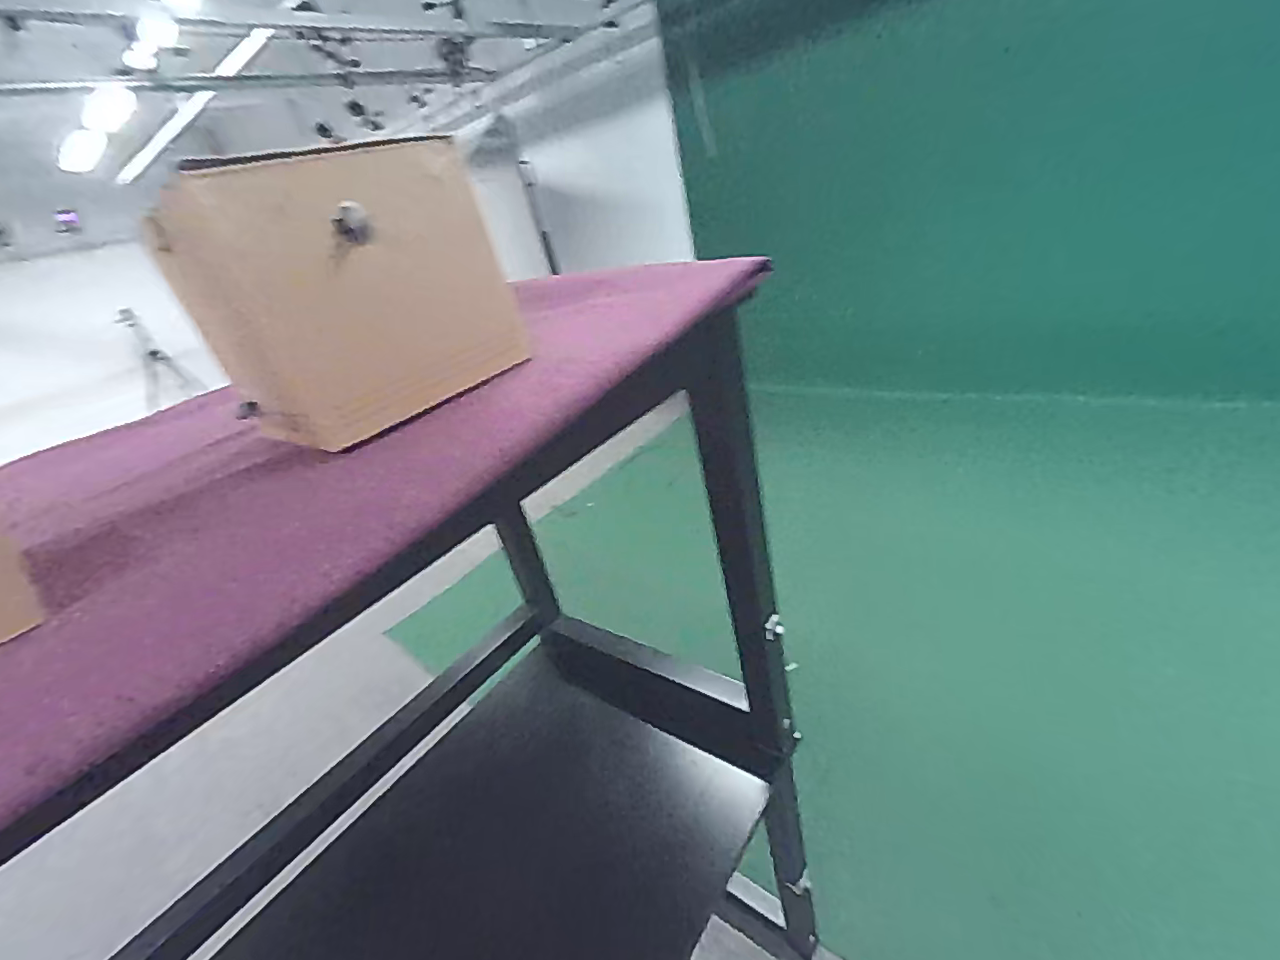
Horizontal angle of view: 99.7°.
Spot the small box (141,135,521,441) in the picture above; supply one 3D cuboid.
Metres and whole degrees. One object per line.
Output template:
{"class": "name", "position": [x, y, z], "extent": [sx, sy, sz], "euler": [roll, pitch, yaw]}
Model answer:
{"class": "small box", "position": [-0.225, -0.141, 0.422], "extent": [0.168, 0.176, 0.179], "euler": [8, 35, 40]}
